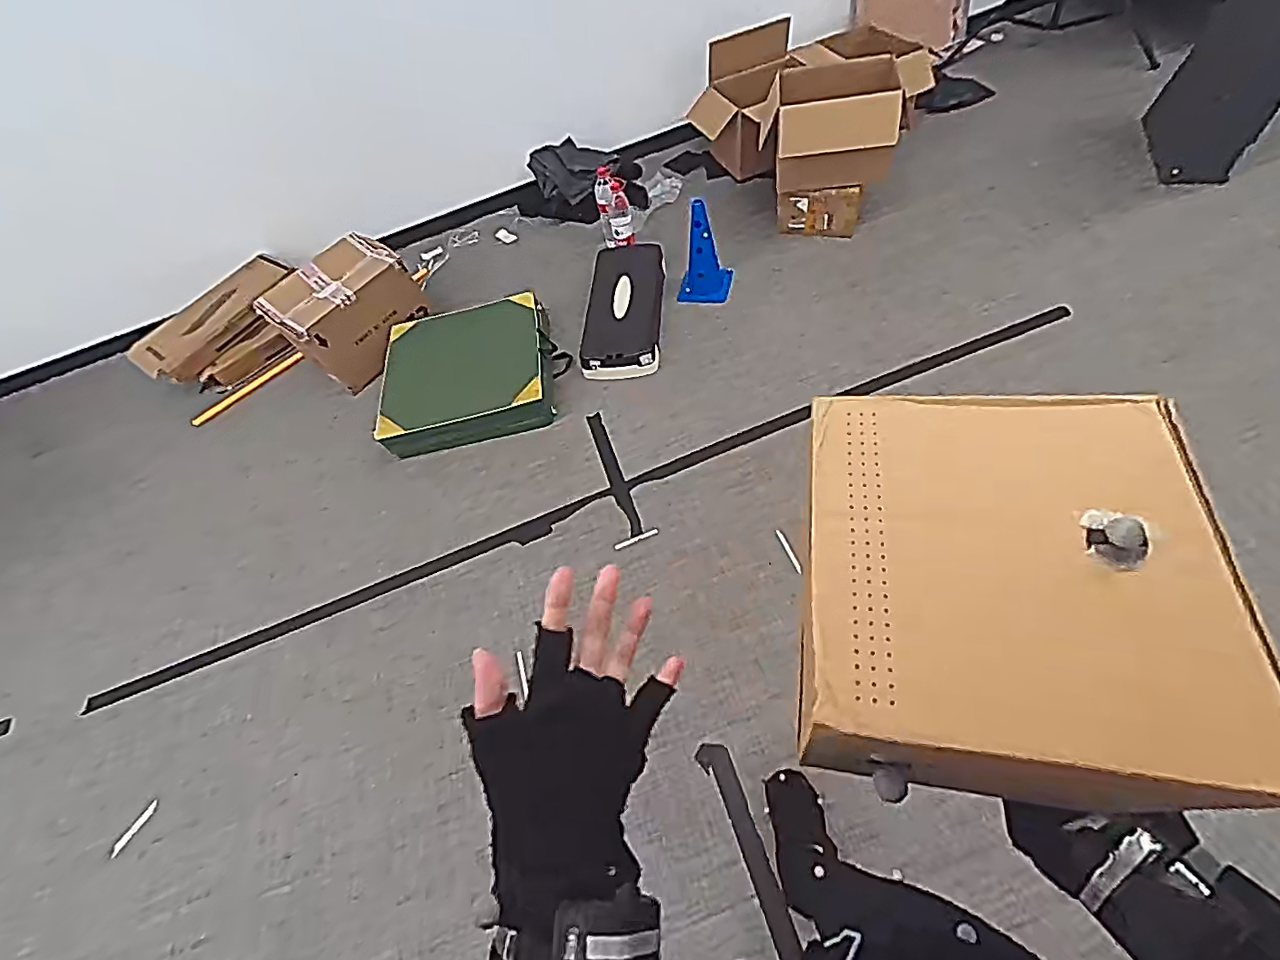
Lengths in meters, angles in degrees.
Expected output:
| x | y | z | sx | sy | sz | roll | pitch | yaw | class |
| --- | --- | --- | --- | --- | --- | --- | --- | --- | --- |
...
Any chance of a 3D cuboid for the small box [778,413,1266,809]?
| x | y | z | sx | sy | sz | roll | pitch | yaw | class |
| --- | --- | --- | --- | --- | --- | --- | --- | --- | --- |
| 0.172 | 0.077 | 0.319 | 0.176 | 0.168 | 0.179 | 1 | 58 | 16 | small box |
